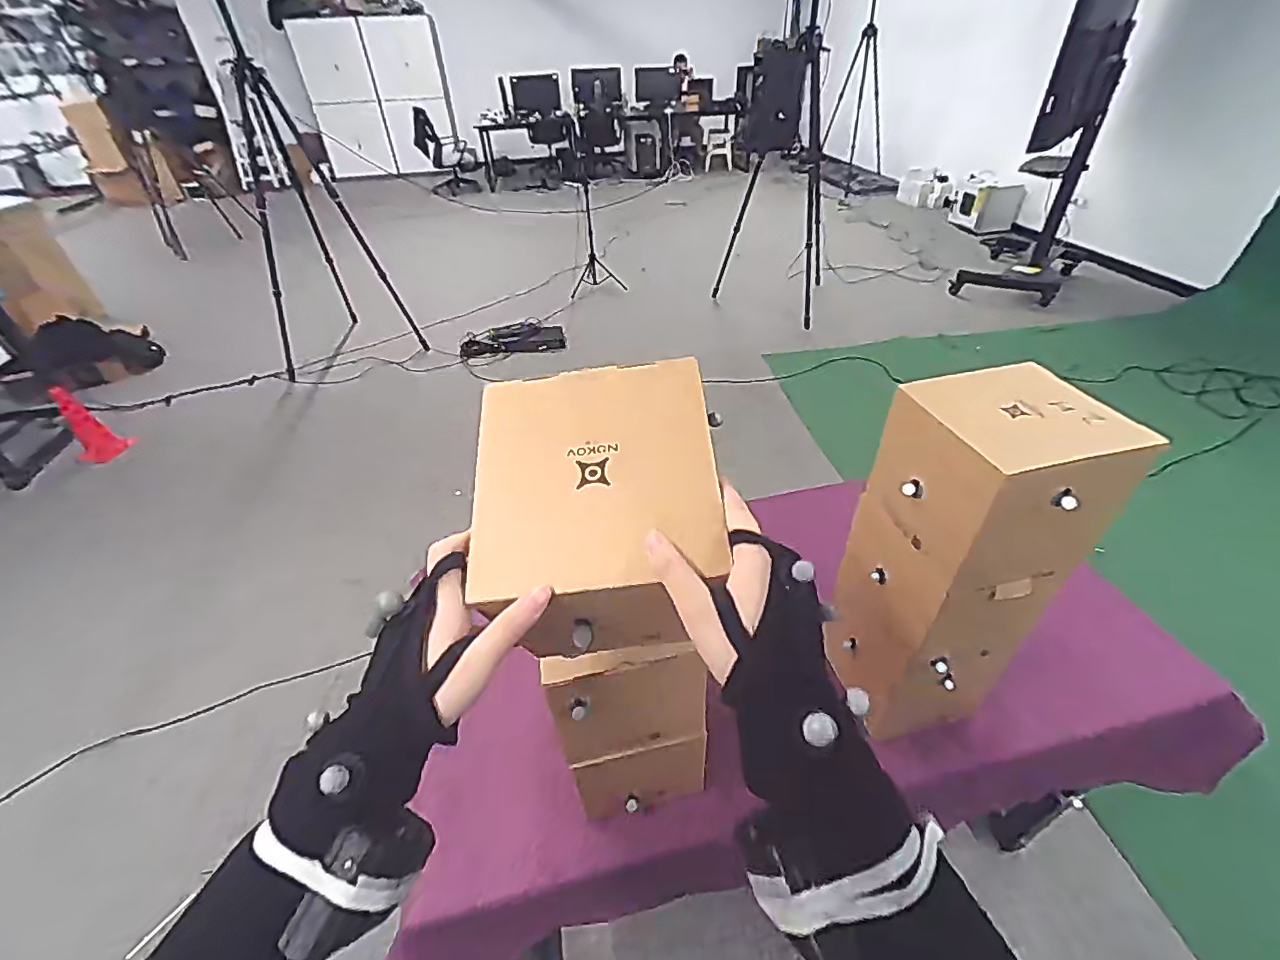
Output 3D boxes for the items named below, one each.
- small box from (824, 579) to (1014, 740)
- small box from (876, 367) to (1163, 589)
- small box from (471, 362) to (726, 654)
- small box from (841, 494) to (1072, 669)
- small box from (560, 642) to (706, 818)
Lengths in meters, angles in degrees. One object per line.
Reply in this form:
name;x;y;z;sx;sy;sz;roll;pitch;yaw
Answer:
small box;0.395;0.251;0.805;0.168;0.176;0.179;-11;39;-7
small box;0.384;-0.001;0.593;0.179;0.176;0.168;-10;41;-8
small box;-0.023;0.035;0.441;0.168;0.176;0.179;-8;58;3
small box;0.388;0.123;0.702;0.168;0.176;0.179;-10;39;-9
small box;-0.014;0.326;0.744;0.168;0.176;0.179;-10;41;-7
